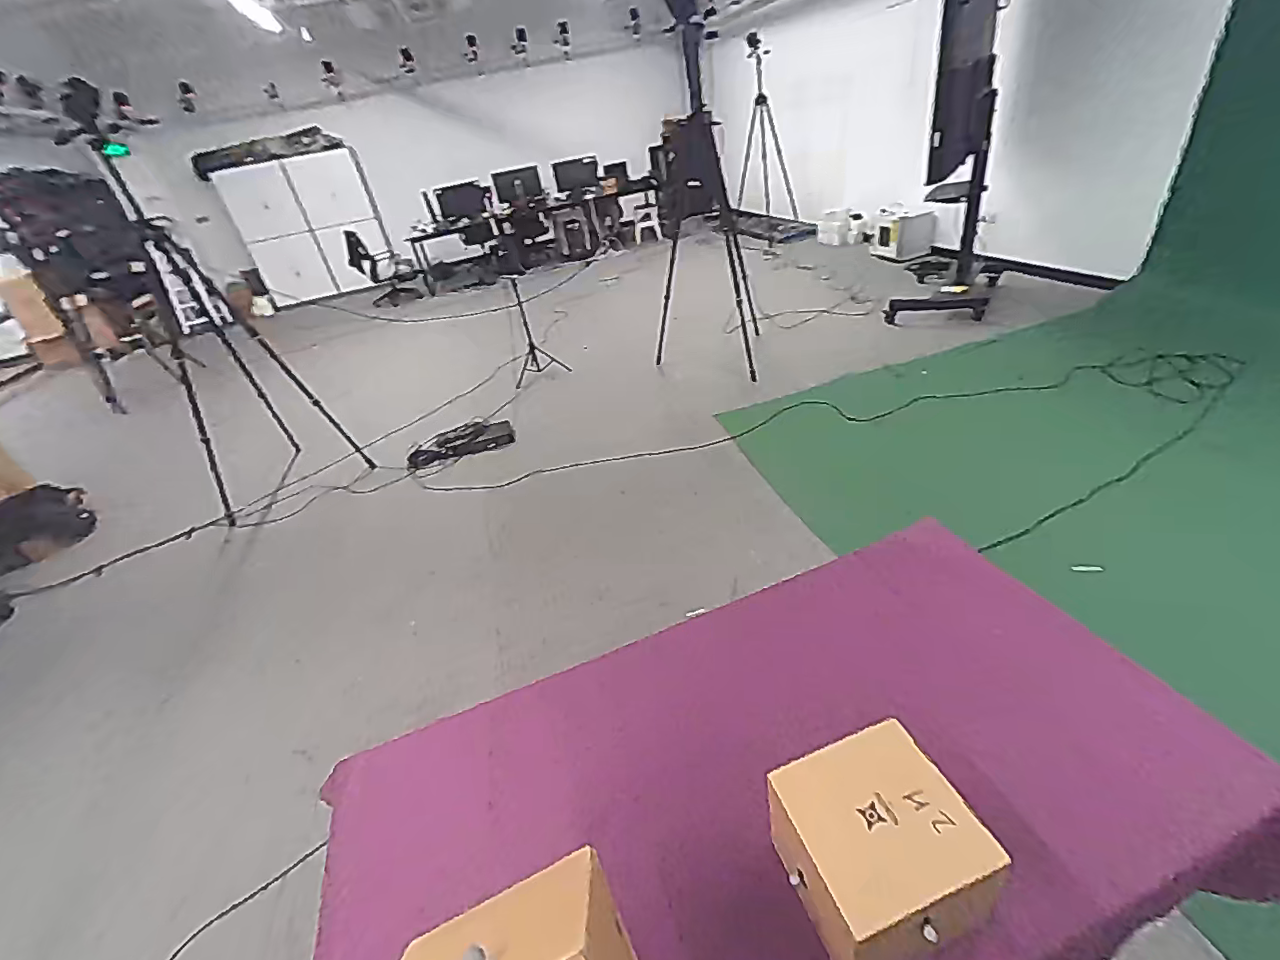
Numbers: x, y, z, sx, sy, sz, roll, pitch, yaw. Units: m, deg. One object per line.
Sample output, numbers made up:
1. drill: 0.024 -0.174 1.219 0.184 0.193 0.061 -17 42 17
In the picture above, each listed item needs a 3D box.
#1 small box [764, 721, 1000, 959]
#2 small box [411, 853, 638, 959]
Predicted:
1. small box: 0.260 0.421 0.617 0.179 0.176 0.168 -18 34 -10
2. small box: -0.084 0.423 0.395 0.179 0.176 0.168 -23 78 -10
